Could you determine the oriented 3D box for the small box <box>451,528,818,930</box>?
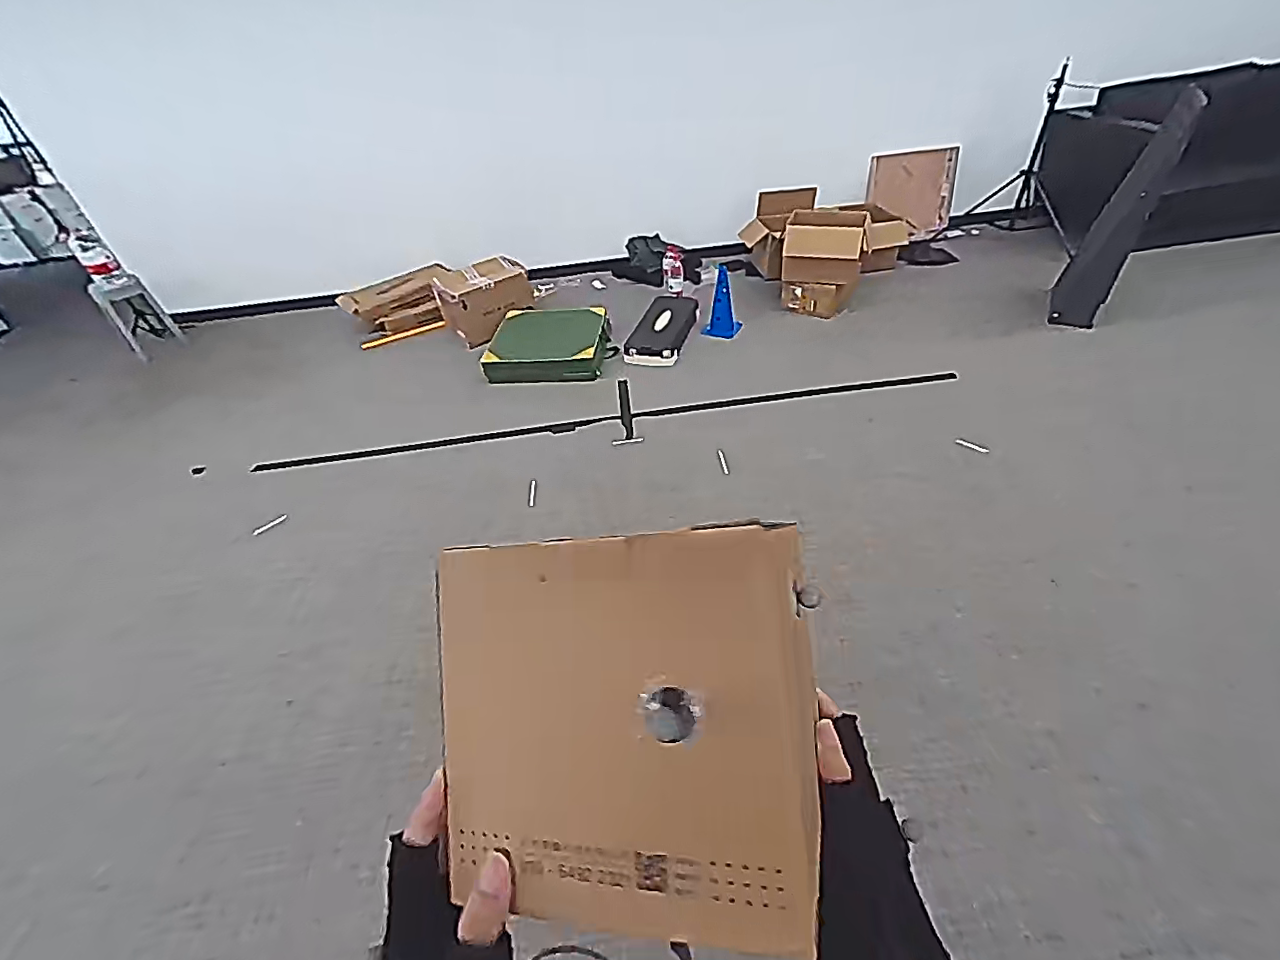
[{"bbox_3d":[0.011,0.124,0.333,0.168,0.179,0.176,-7,83,22],"label":"small box"}]
